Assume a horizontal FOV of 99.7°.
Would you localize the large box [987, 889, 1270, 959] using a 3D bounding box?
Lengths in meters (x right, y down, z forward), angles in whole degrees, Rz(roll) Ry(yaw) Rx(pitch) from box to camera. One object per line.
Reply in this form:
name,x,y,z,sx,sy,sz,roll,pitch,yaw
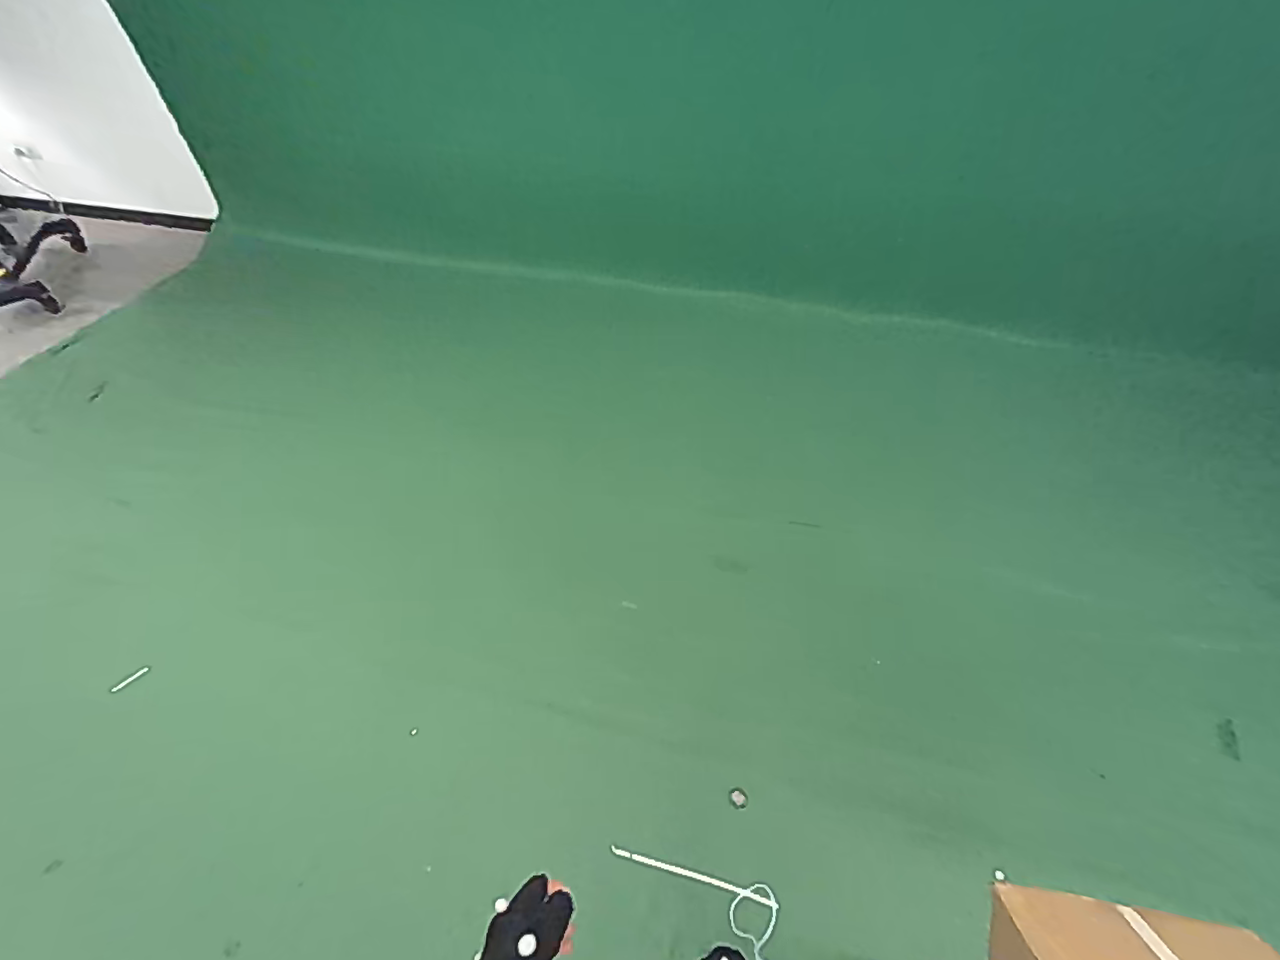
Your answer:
large box,0.602,0.740,0.549,0.320,0.408,0.320,4,90,12
